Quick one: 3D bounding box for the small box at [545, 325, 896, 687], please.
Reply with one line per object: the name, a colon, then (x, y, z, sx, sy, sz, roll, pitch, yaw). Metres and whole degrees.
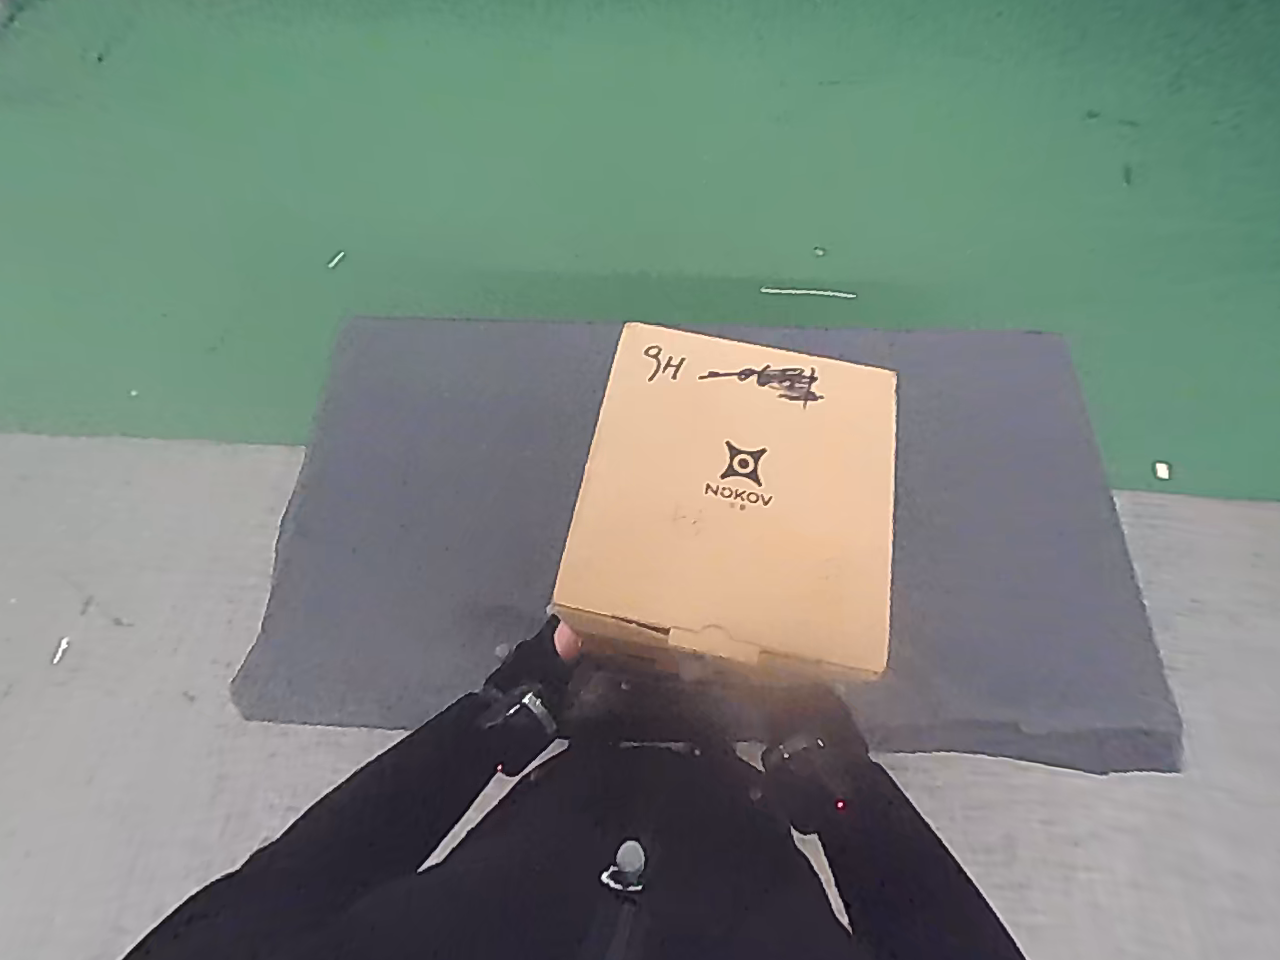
small box: (0.049, 0.029, 0.363, 0.168, 0.176, 0.179, 12, 70, 3)

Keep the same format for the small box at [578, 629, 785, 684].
small box: (0.045, 0.092, 0.515, 0.168, 0.176, 0.179, 9, 68, 2)
